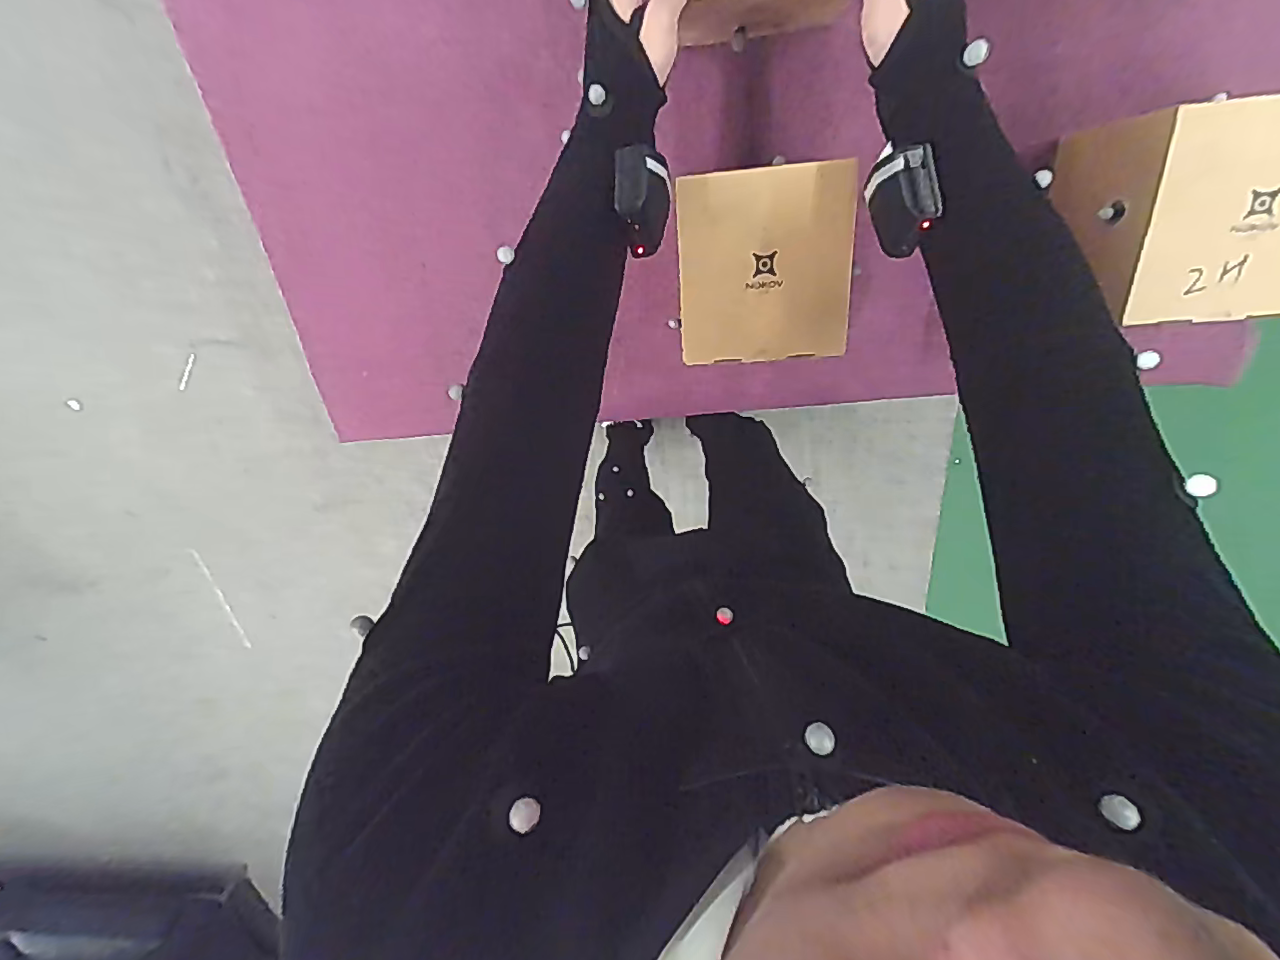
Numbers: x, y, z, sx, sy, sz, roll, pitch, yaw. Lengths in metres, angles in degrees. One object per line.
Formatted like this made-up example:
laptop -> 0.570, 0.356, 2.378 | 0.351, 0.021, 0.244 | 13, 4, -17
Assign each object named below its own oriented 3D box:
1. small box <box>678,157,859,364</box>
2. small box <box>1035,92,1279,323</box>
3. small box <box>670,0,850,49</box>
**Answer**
small box -> 0.128, -0.236, 0.592 | 0.168, 0.176, 0.179 | -3, 115, 8
small box -> 0.528, -0.256, 0.528 | 0.168, 0.176, 0.179 | -1, 114, 9
small box -> 0.104, -0.506, 0.463 | 0.168, 0.176, 0.179 | -2, 117, 8
